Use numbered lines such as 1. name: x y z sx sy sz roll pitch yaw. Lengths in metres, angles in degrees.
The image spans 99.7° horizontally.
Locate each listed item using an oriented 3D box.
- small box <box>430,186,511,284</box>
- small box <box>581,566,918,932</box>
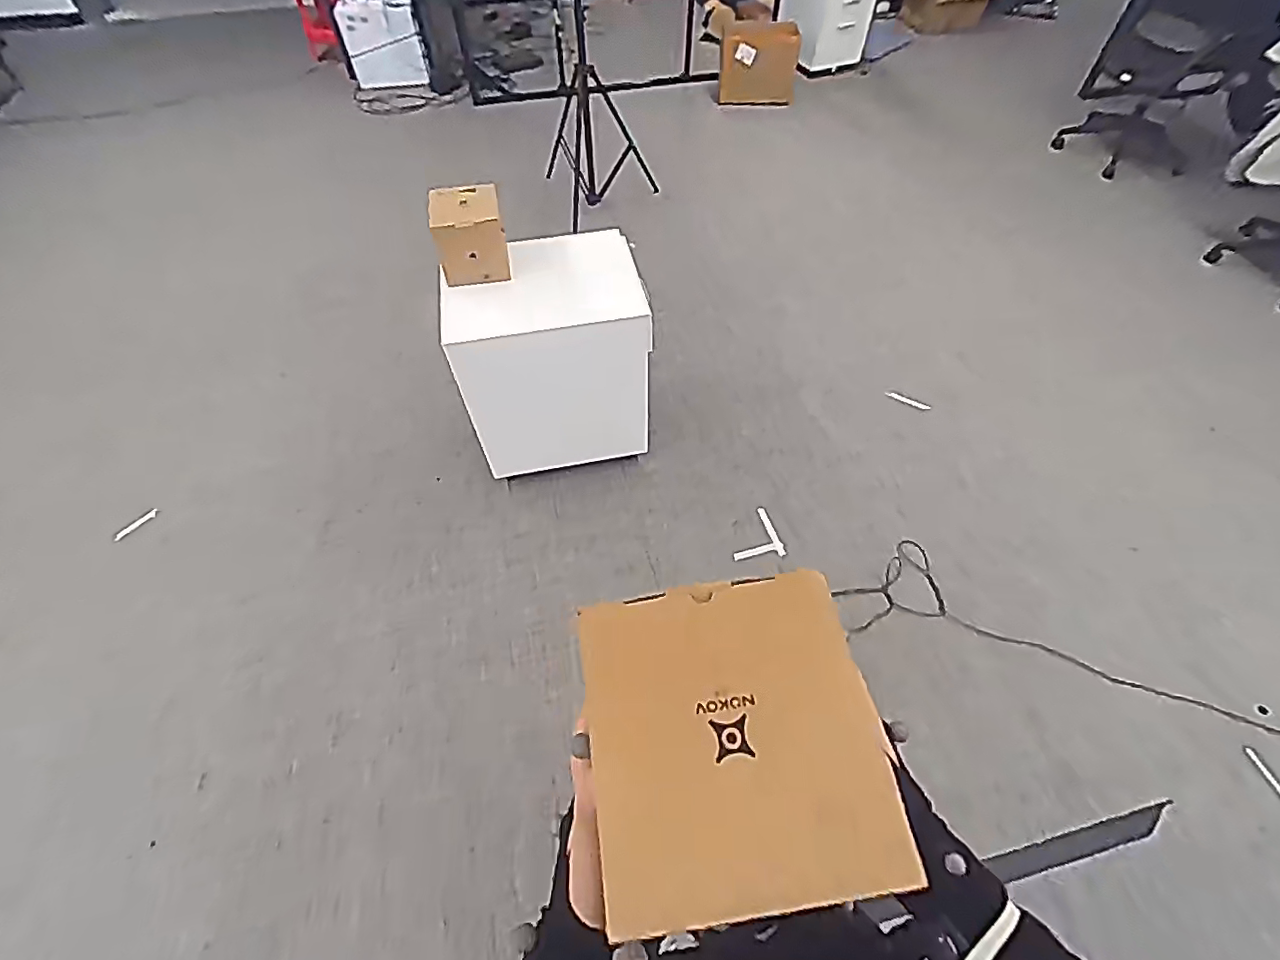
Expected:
1. small box: -0.436 -0.627 1.400 0.168 0.176 0.179 -10 57 -8
2. small box: 0.059 0.183 0.387 0.168 0.176 0.179 -10 59 -1
